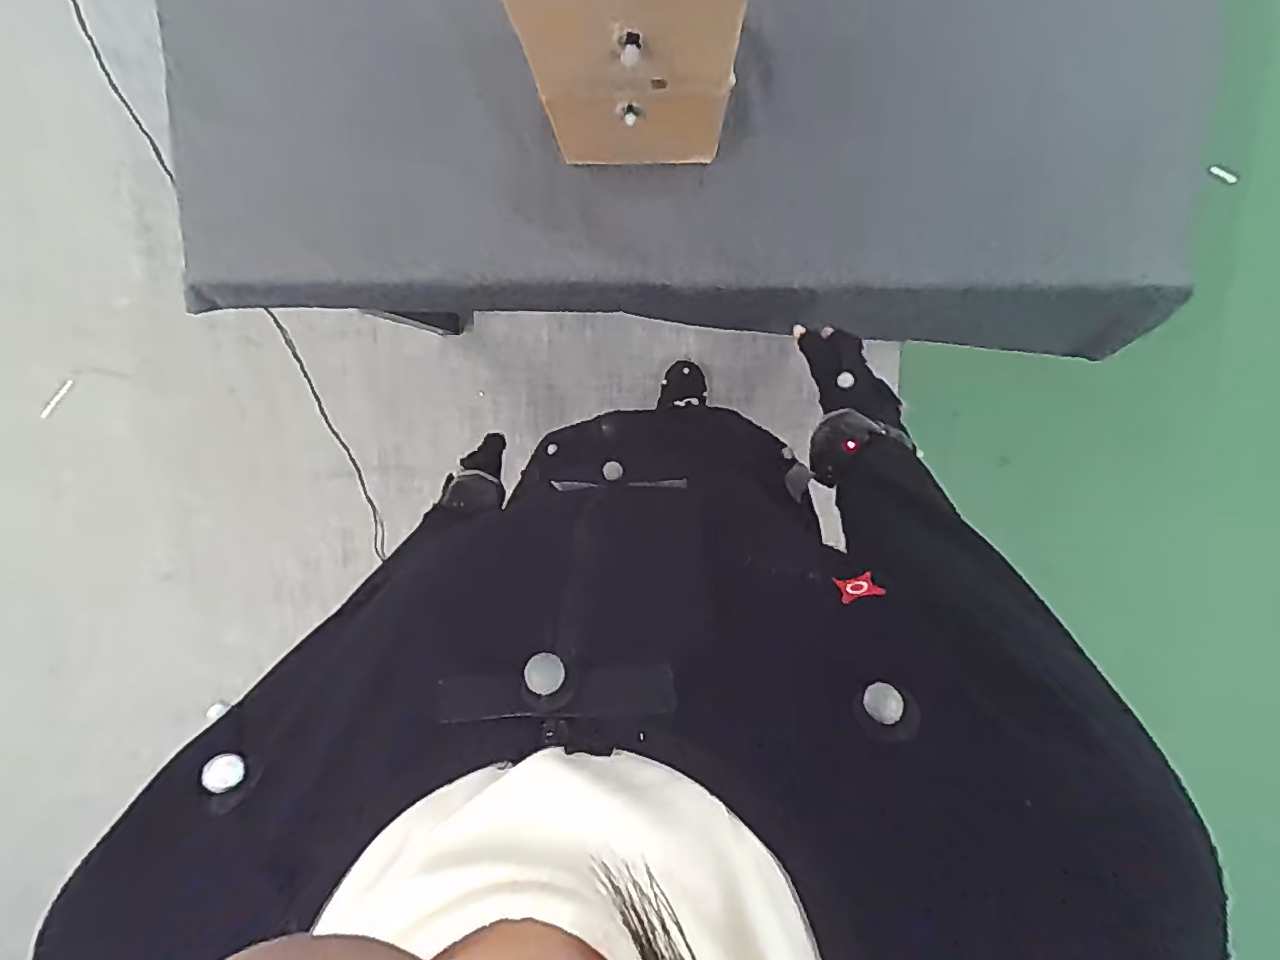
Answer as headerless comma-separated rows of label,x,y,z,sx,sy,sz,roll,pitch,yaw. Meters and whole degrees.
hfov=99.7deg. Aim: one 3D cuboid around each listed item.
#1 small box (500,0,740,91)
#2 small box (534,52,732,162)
small box,-0.010,-0.408,0.383,0.168,0.176,0.179,0,100,3
small box,-0.003,-0.439,0.543,0.179,0.176,0.168,0,100,1
